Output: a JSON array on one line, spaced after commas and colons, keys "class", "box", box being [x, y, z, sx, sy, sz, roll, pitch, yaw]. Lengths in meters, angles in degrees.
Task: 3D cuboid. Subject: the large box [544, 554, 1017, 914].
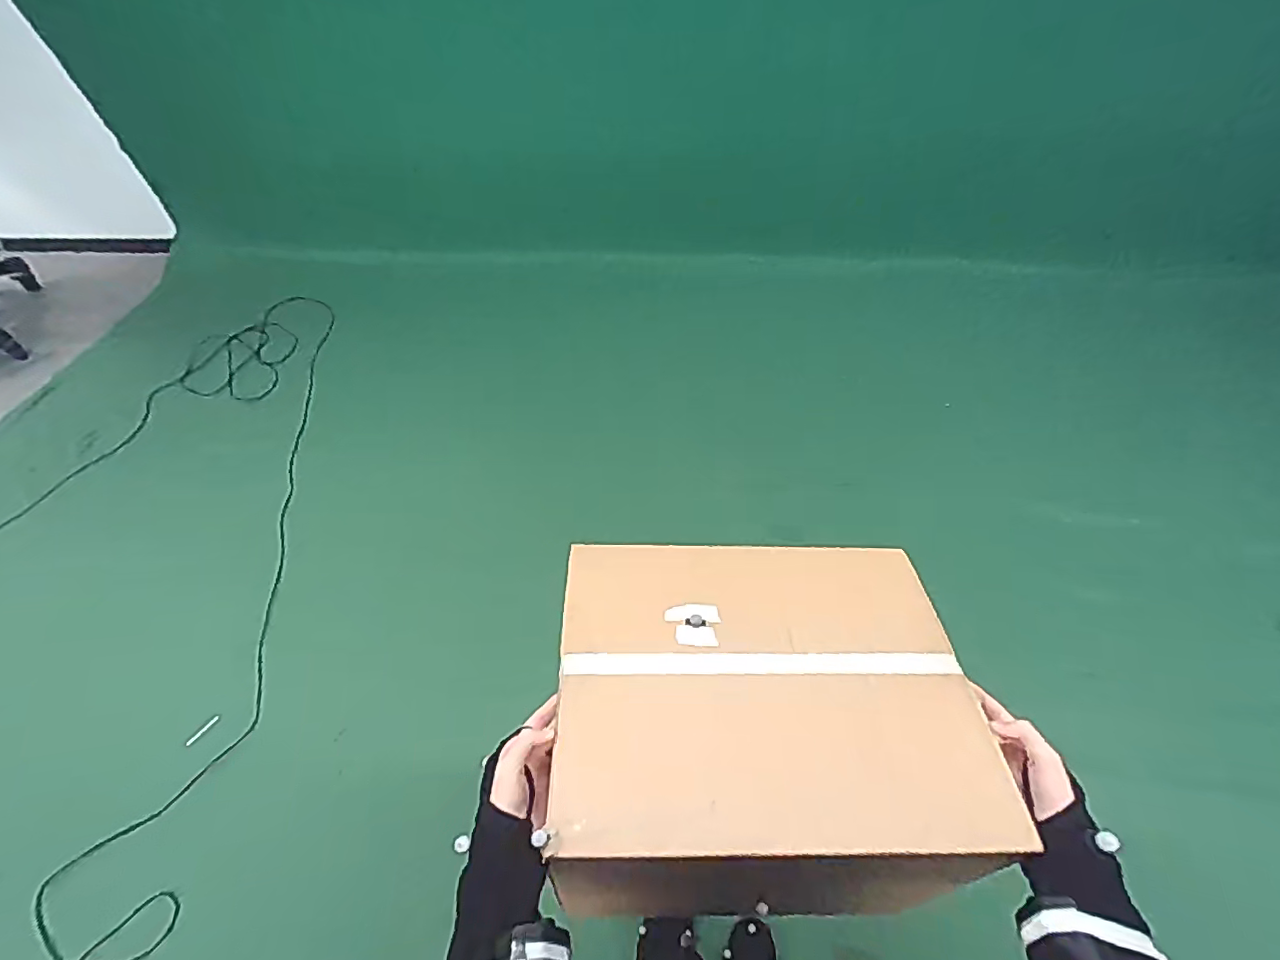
[{"class": "large box", "box": [0.114, 0.306, 0.652, 0.408, 0.320, 0.320, 0, 44, -2]}]
